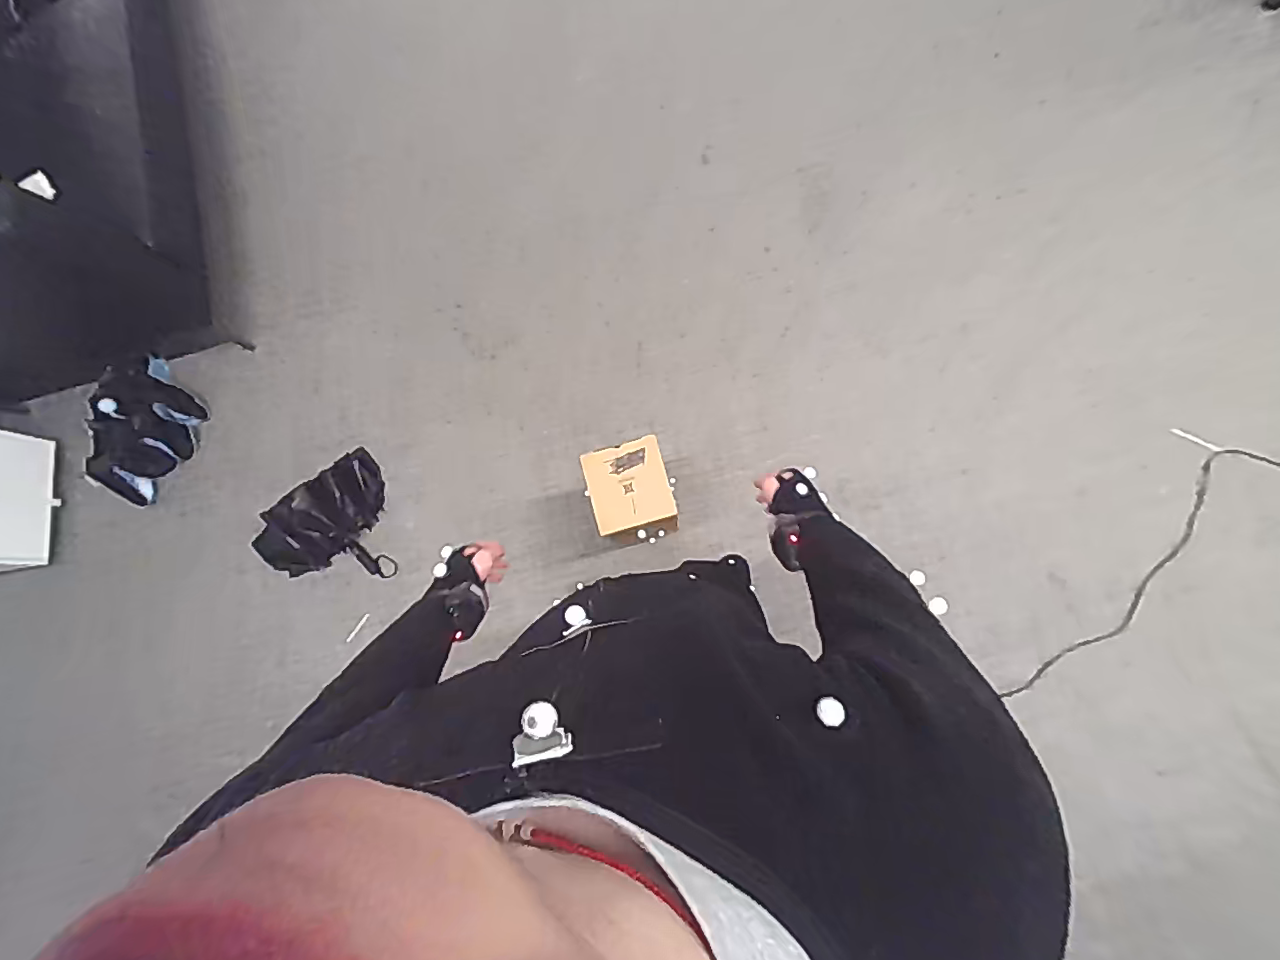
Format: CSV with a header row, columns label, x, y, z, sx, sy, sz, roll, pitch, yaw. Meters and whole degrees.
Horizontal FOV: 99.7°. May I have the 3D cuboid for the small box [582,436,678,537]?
label,x,y,z,sx,sy,sz,roll,pitch,yaw
small box,-0.018,0.021,1.187,0.168,0.176,0.179,-16,82,2
